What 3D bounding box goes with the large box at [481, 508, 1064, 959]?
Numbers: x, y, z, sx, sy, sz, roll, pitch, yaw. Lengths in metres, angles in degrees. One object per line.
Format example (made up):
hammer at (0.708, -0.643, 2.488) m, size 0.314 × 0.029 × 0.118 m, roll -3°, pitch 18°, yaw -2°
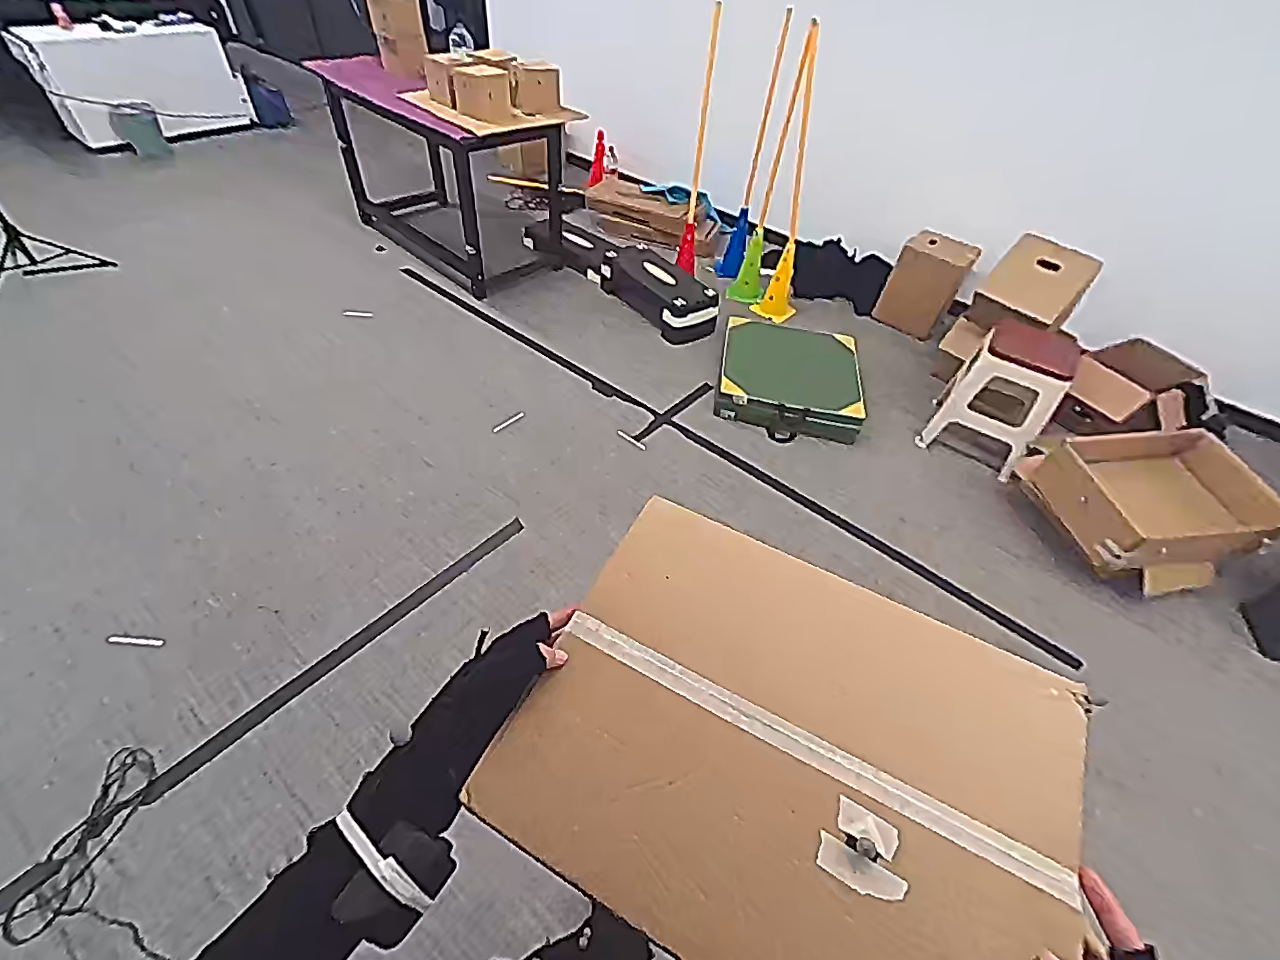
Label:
large box at (0.116, 0.297, 0.556) m, size 0.408 × 0.320 × 0.320 m, roll 24°, pitch 57°, yaw 16°
